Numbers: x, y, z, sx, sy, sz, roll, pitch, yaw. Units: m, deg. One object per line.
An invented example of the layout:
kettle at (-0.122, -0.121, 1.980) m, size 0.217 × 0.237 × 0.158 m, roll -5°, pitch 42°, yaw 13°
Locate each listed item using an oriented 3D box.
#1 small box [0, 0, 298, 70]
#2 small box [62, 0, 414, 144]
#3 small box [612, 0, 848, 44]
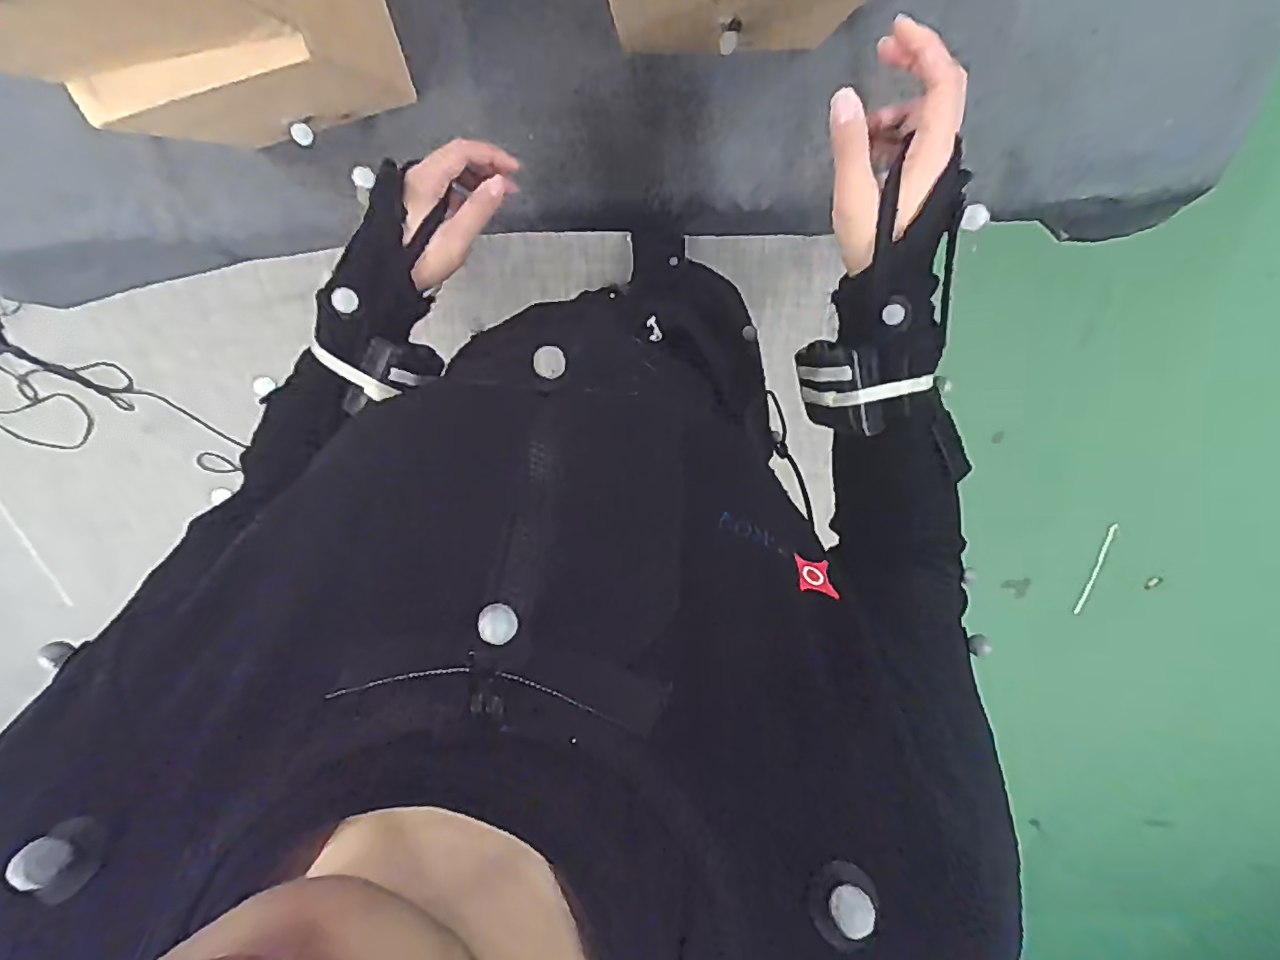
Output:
small box at (-0.294, -0.297, 0.226) m, size 0.179 × 0.176 × 0.168 m, roll -7°, pitch 119°, yaw 5°
small box at (-0.292, -0.358, 0.377) m, size 0.168 × 0.176 × 0.179 m, roll -10°, pitch 117°, yaw 7°
small box at (0.064, -0.401, 0.344) m, size 0.168 × 0.176 × 0.179 m, roll -1°, pitch 118°, yaw 3°
